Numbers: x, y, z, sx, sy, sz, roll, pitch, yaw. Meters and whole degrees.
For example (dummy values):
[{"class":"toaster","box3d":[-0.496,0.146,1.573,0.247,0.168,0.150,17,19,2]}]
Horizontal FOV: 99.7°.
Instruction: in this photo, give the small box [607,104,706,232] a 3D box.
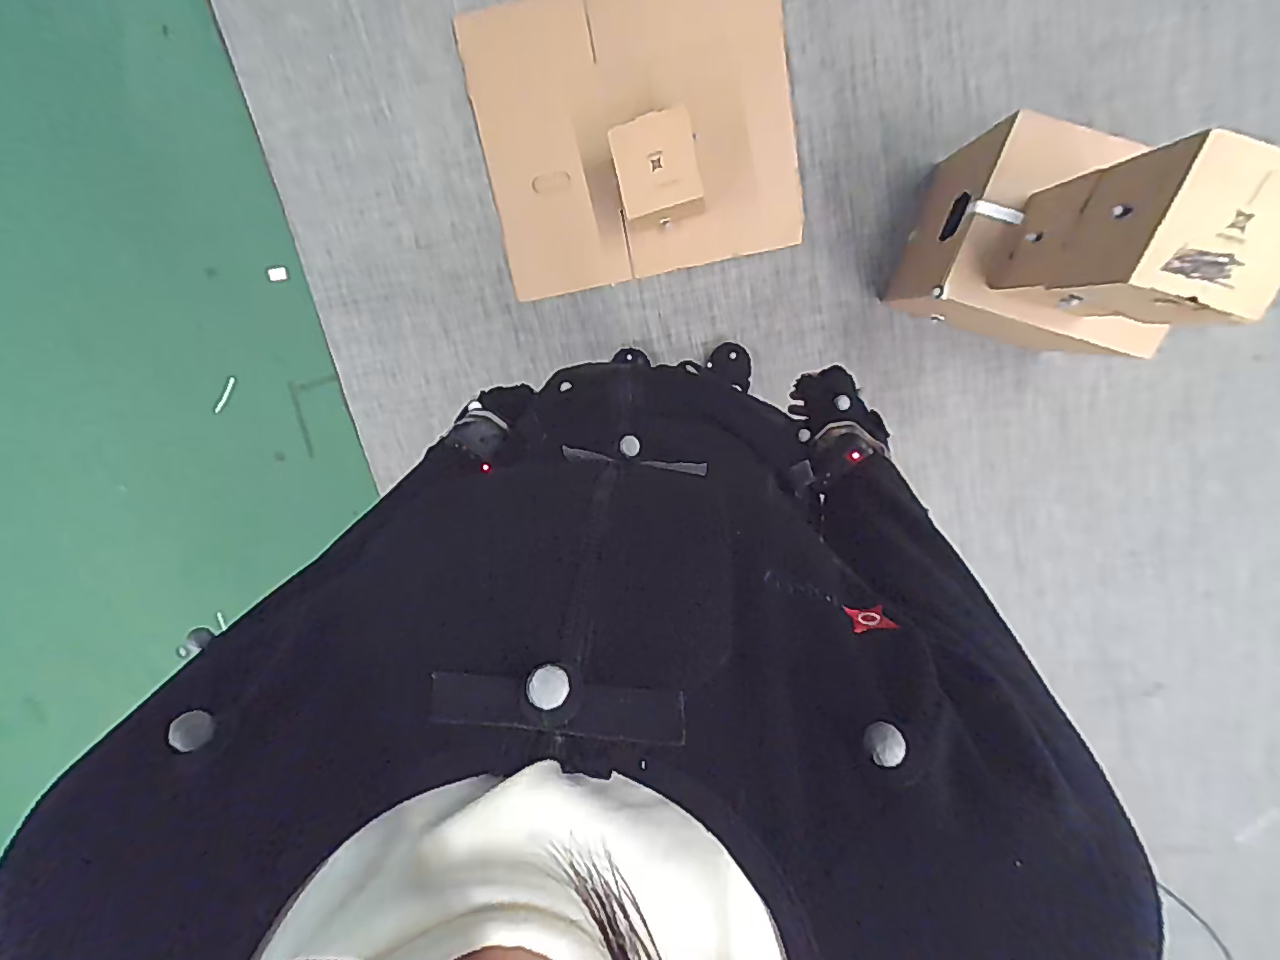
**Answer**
[{"class":"small box","box3d":[0.043,-0.656,1.159,0.168,0.176,0.179,-12,104,13]}]

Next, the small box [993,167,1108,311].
[{"class":"small box","box3d":[0.716,-0.373,0.868,0.179,0.176,0.168,13,105,1]}]

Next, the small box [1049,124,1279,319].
[{"class":"small box","box3d":[0.693,-0.321,0.711,0.168,0.176,0.179,18,106,0]}]
